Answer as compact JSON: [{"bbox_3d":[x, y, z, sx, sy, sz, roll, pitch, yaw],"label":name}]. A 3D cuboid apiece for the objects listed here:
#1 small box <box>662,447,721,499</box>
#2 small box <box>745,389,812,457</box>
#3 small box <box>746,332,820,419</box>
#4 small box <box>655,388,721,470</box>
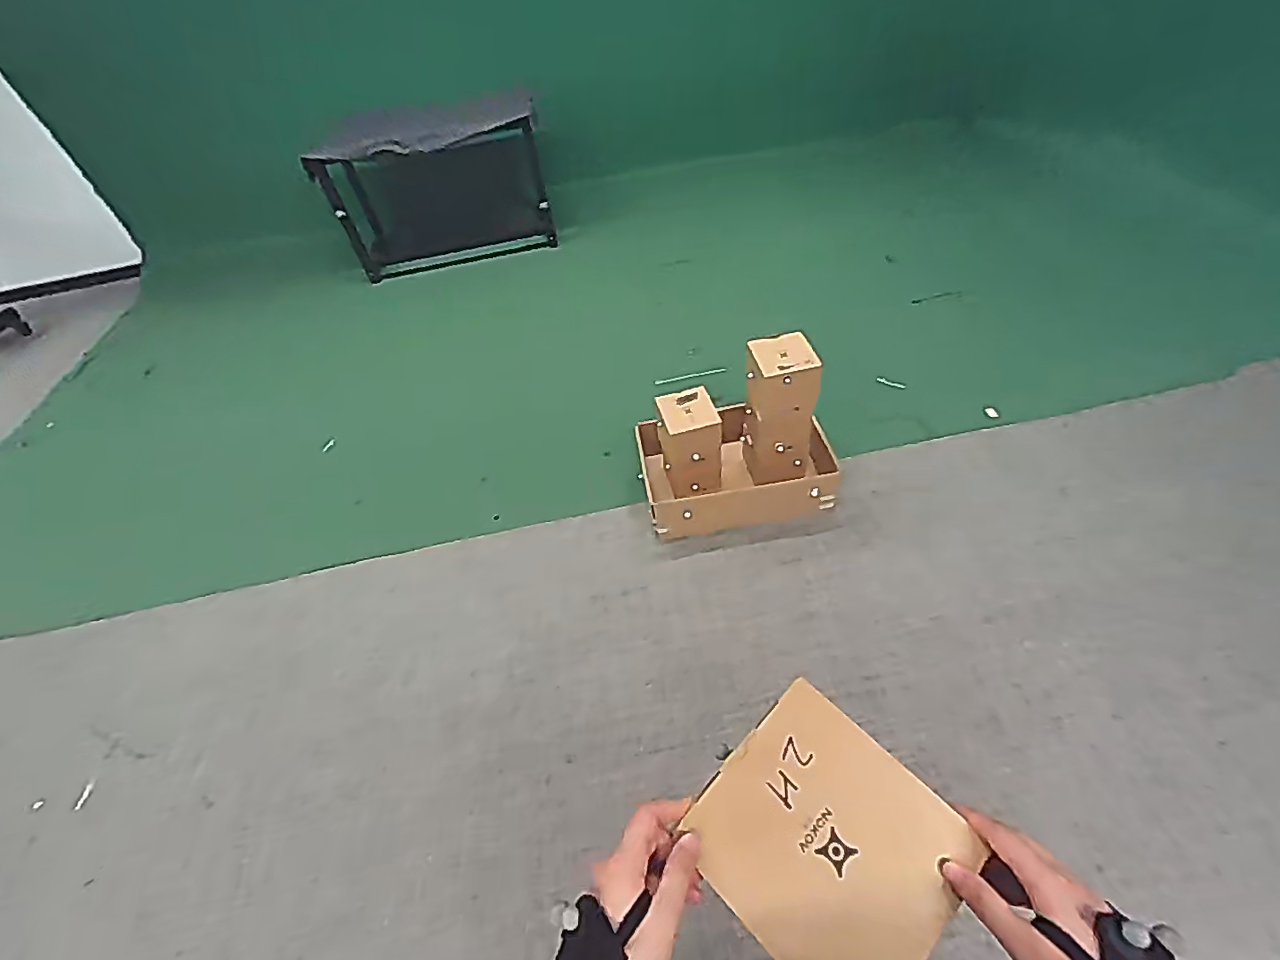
[{"bbox_3d":[0.172,-0.063,1.862,0.168,0.176,0.179,-13,49,-4],"label":"small box"},{"bbox_3d":[0.433,-0.200,1.722,0.168,0.176,0.179,-10,50,2],"label":"small box"},{"bbox_3d":[0.413,-0.307,1.599,0.168,0.176,0.179,-12,47,0],"label":"small box"},{"bbox_3d":[0.150,-0.162,1.730,0.168,0.176,0.179,-15,50,-6],"label":"small box"}]
